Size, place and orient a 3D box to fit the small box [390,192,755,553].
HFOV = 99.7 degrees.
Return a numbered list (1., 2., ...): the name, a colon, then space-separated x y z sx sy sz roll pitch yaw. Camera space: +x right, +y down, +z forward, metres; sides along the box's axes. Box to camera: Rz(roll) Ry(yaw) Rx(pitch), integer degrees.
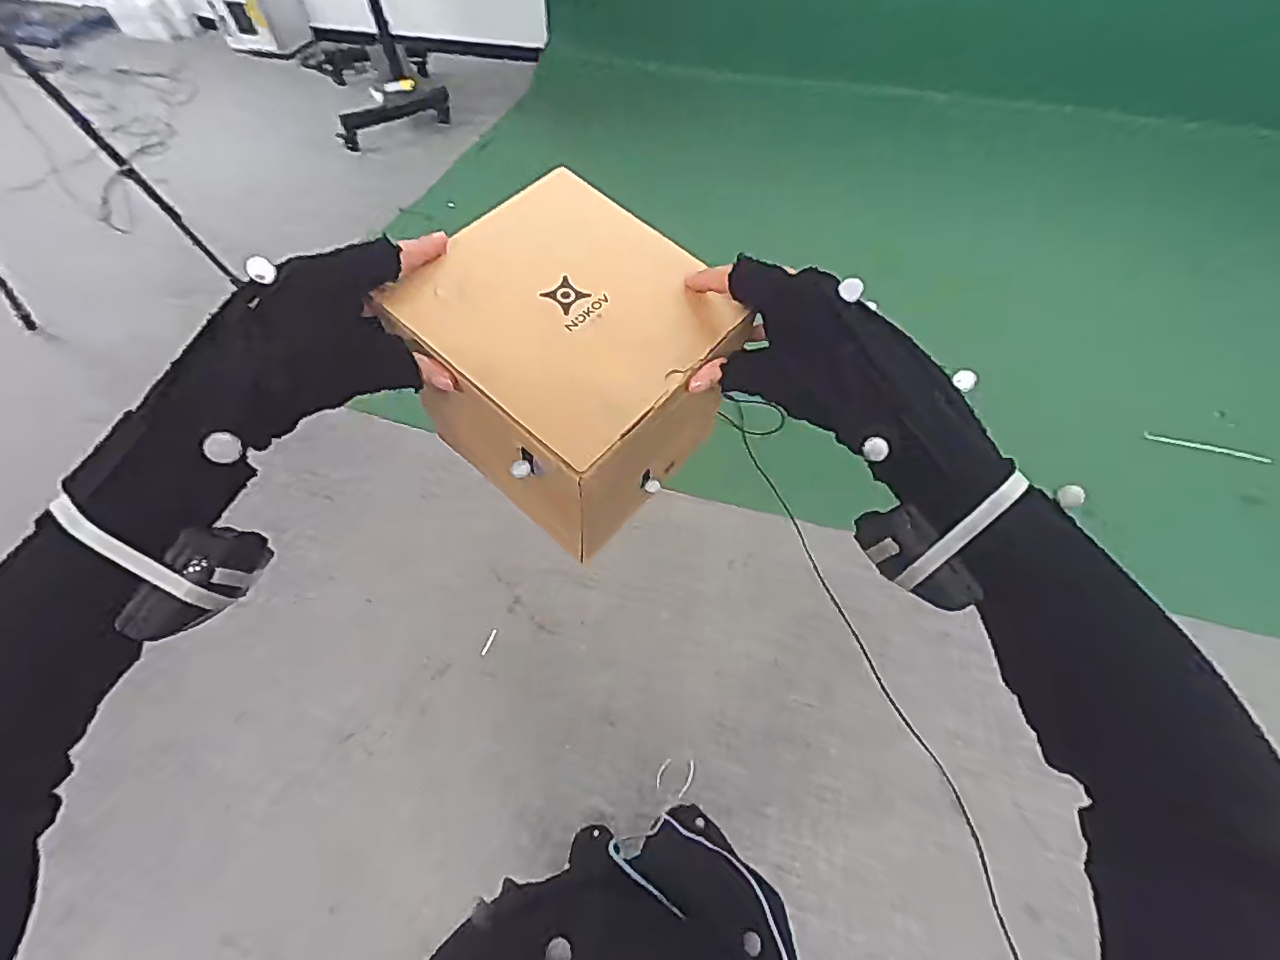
1. small box: -0.049 -0.070 0.416 0.179 0.176 0.168 41 67 11
